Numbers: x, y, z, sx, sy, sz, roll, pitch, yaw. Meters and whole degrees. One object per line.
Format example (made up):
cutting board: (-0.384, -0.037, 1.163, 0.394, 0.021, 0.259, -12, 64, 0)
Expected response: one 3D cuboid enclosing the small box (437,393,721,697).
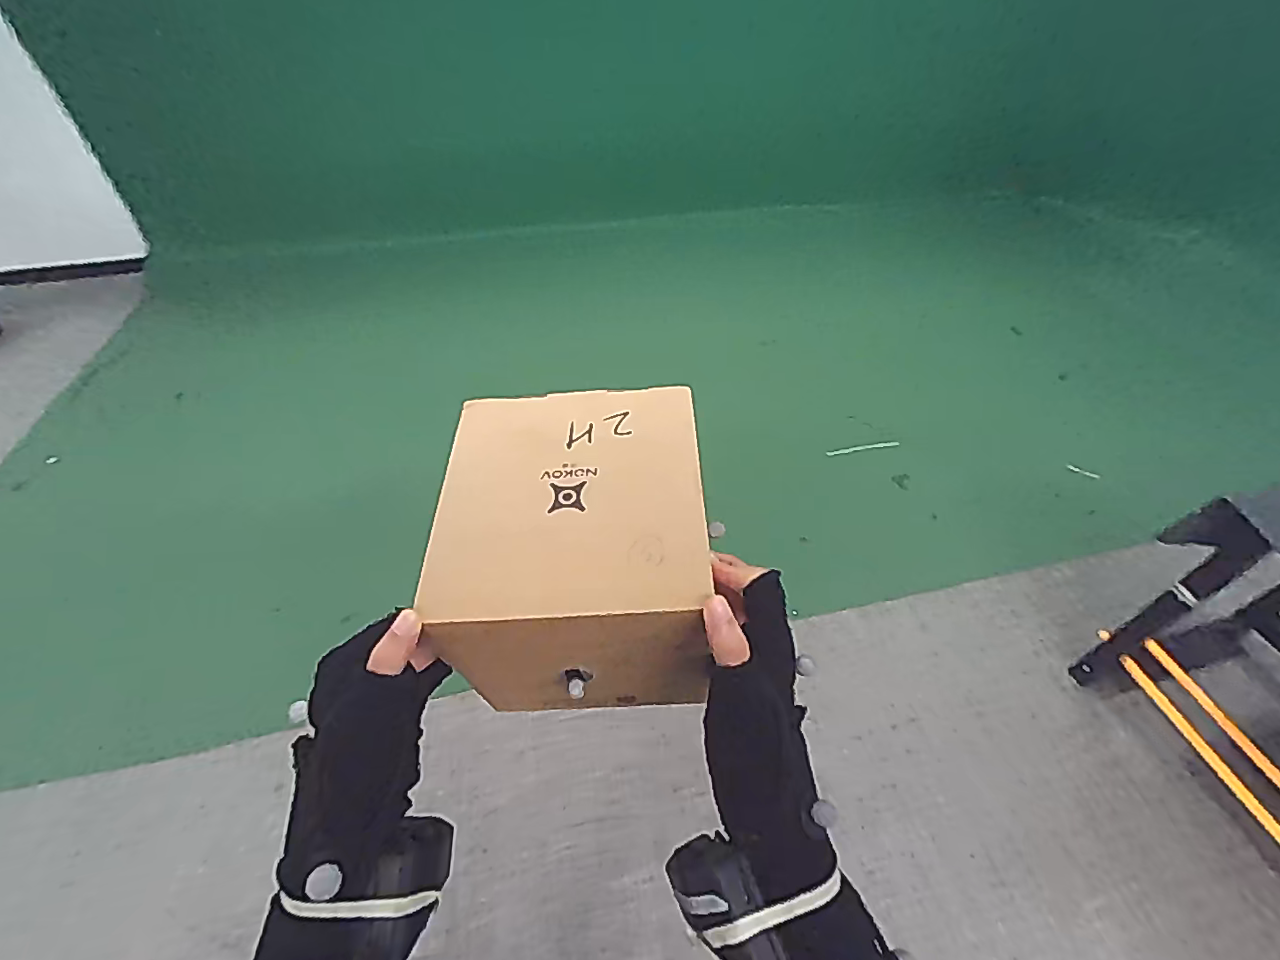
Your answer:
small box: (-0.030, 0.057, 0.413, 0.168, 0.176, 0.179, -3, 52, 2)
